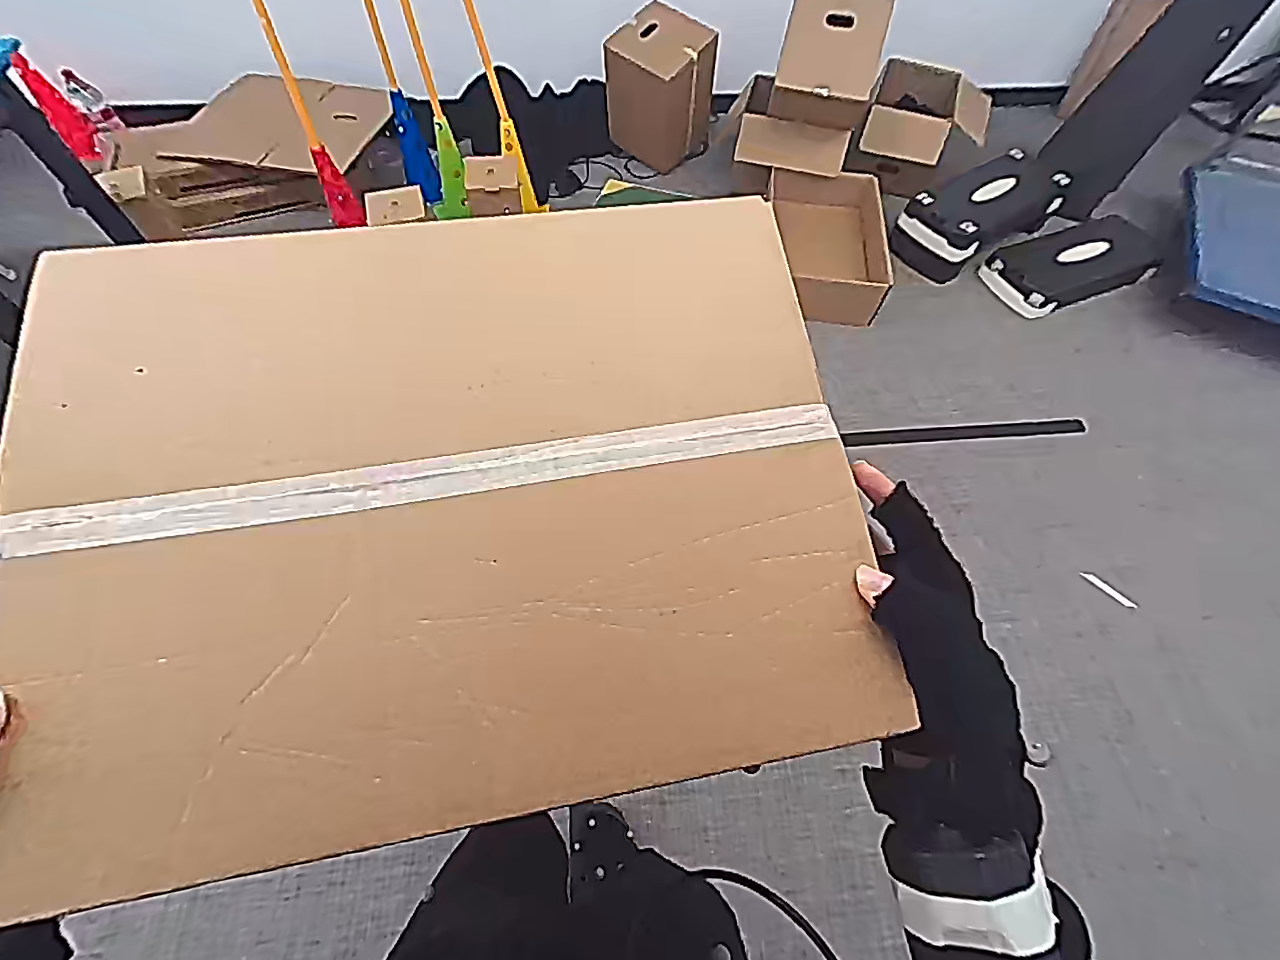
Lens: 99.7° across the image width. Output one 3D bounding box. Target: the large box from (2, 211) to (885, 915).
[{"bbox_3d":[-0.106,0.043,0.426,0.408,0.320,0.320,-9,74,-7],"label":"large box"}]
